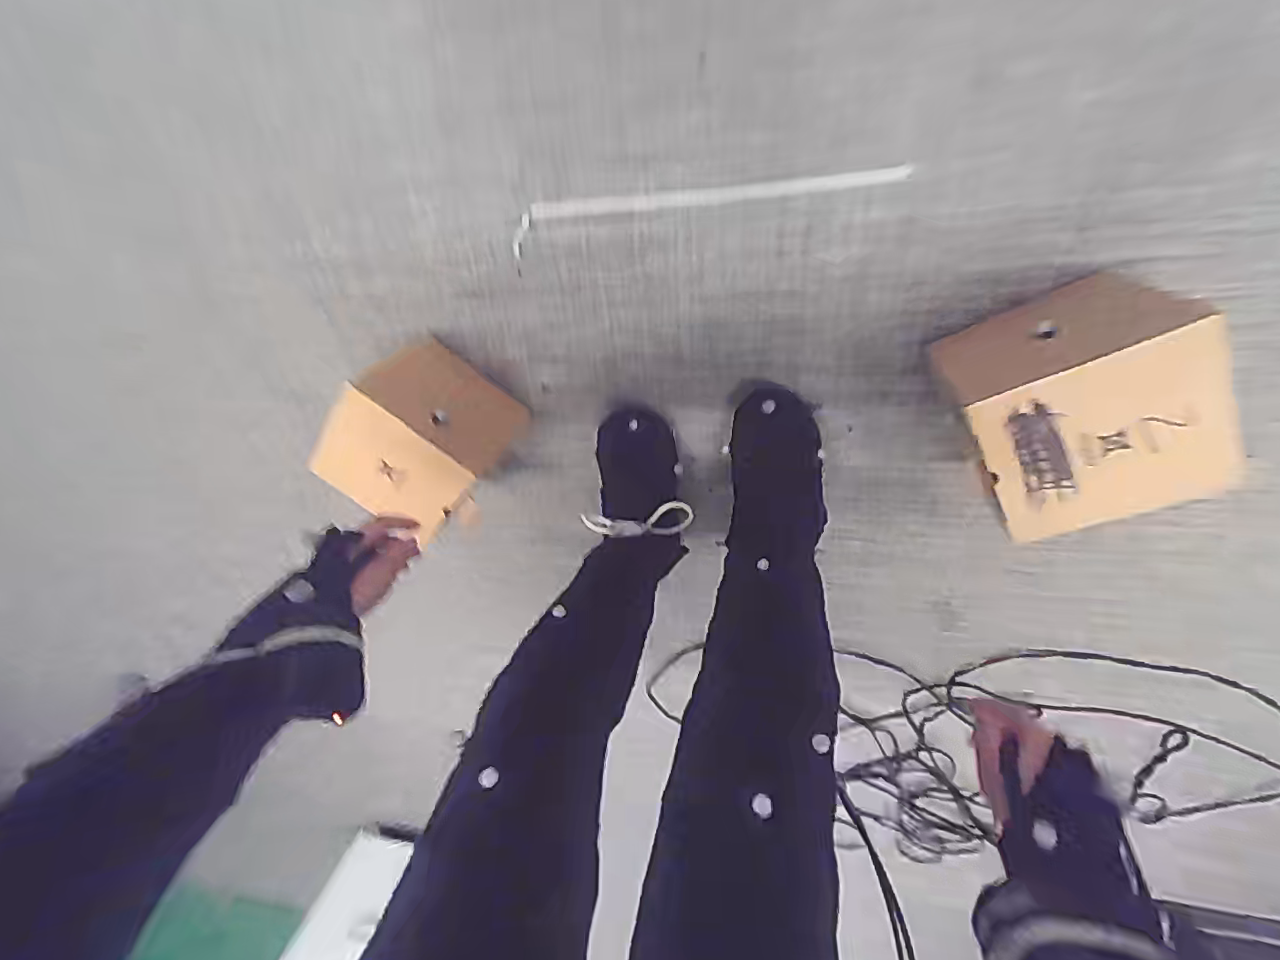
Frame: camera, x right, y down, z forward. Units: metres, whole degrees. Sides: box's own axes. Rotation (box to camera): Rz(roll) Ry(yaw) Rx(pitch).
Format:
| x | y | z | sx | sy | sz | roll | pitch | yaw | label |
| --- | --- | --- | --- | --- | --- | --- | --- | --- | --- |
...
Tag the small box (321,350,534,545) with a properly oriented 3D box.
| x | y | z | sx | sy | sz | roll | pitch | yaw | label |
| --- | --- | --- | --- | --- | --- | --- | --- | --- | --- |
| -0.276 | -0.053 | 0.730 | 0.179 | 0.176 | 0.168 | 39 | 123 | -12 | small box |
